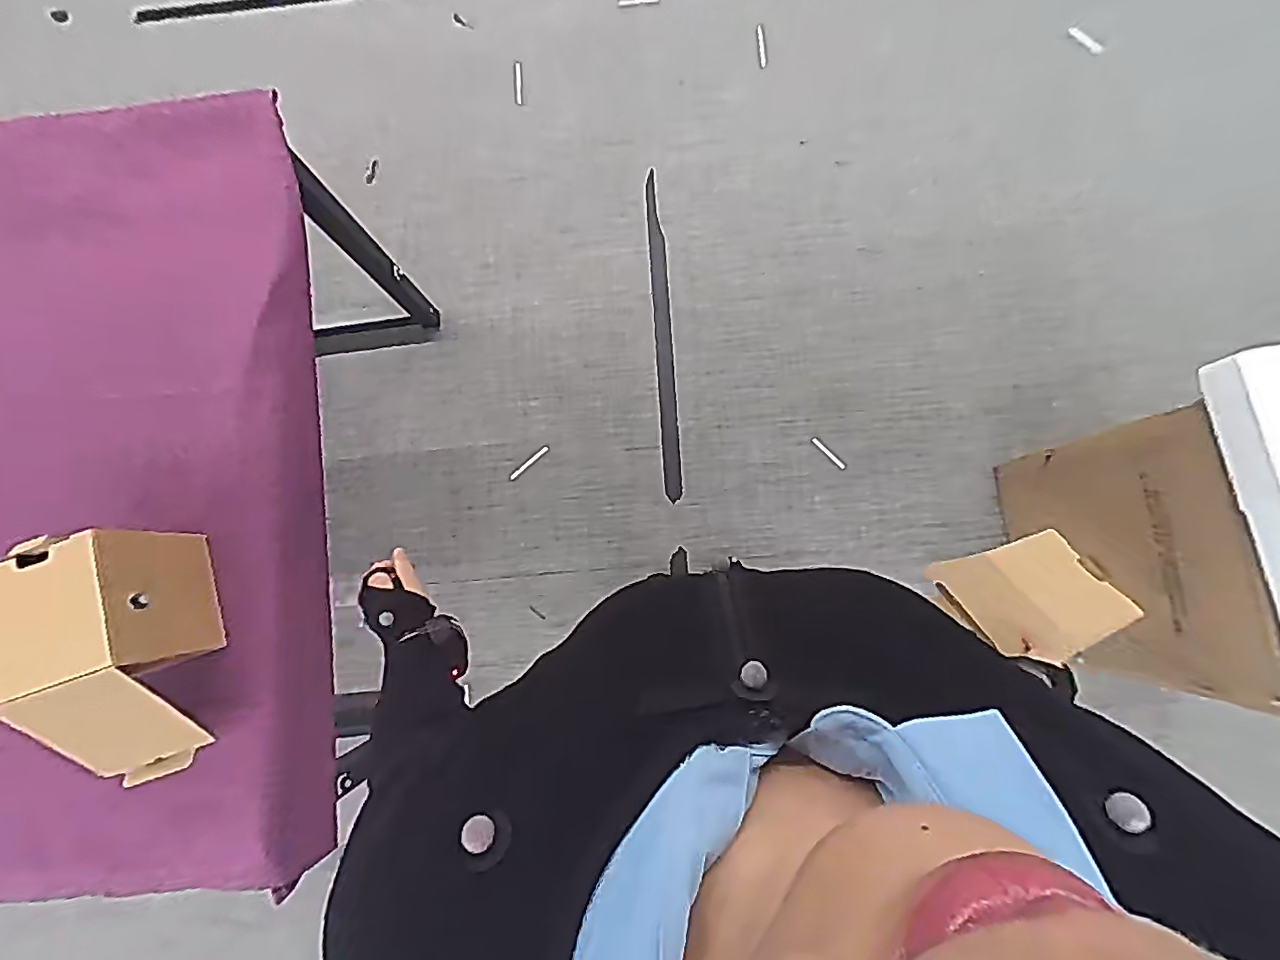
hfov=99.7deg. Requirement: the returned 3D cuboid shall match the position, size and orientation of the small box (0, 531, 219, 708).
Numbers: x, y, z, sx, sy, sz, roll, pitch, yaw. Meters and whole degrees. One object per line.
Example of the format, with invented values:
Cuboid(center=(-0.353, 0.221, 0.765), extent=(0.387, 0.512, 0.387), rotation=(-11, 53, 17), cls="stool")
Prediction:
Cuboid(center=(-0.715, 0.178, 0.727), extent=(0.168, 0.176, 0.179), rotation=(-18, 80, 0), cls="small box")
